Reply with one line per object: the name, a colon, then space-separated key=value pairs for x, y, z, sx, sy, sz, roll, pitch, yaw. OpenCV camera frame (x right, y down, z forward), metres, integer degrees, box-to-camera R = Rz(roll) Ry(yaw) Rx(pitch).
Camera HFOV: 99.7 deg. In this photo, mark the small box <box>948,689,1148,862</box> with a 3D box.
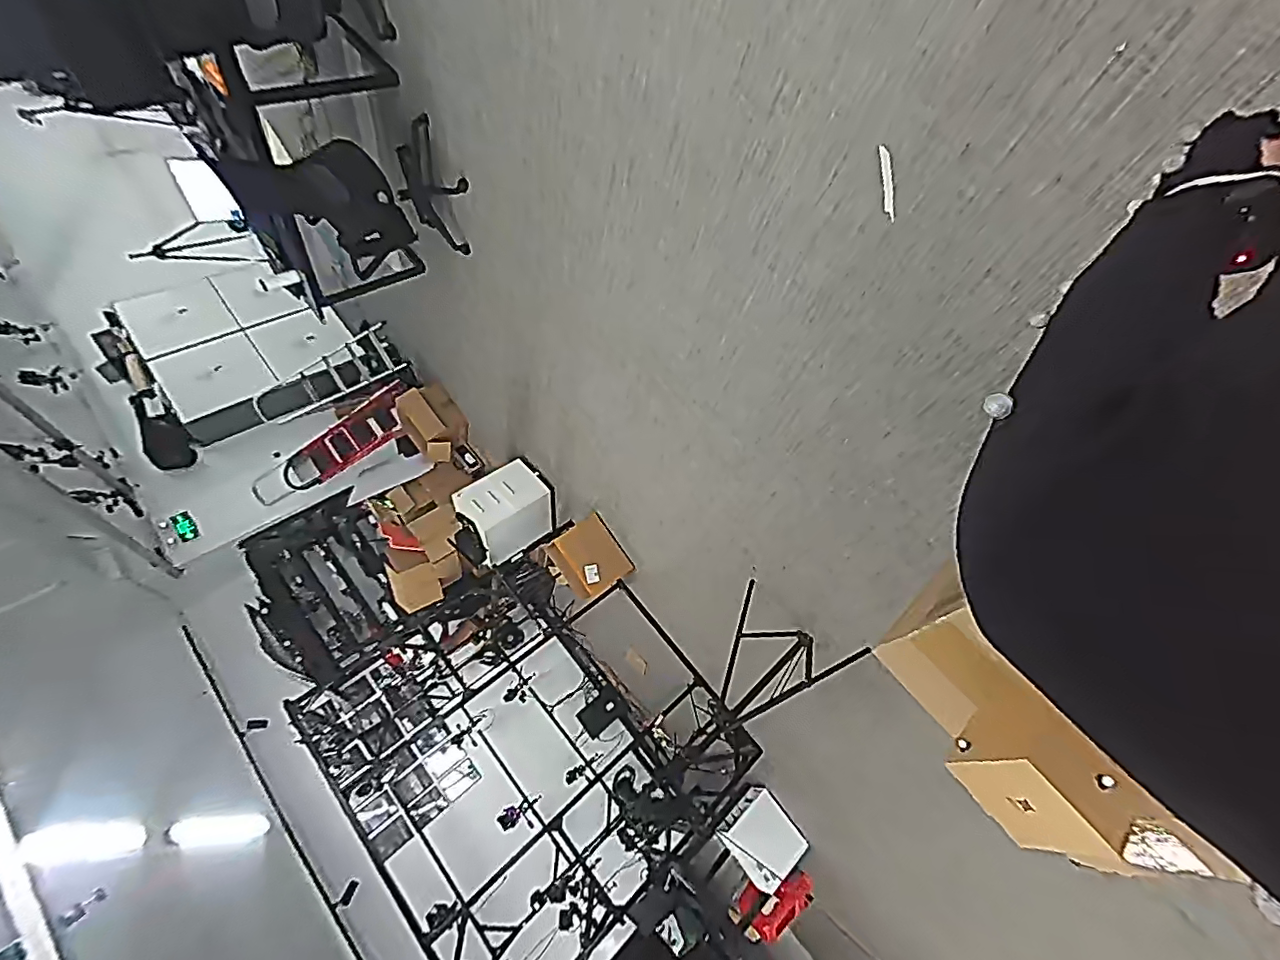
small box: x=0.642 y=0.454 z=0.852 sx=0.168 sy=0.176 sz=0.179 roll=48 pitch=151 yaw=14
